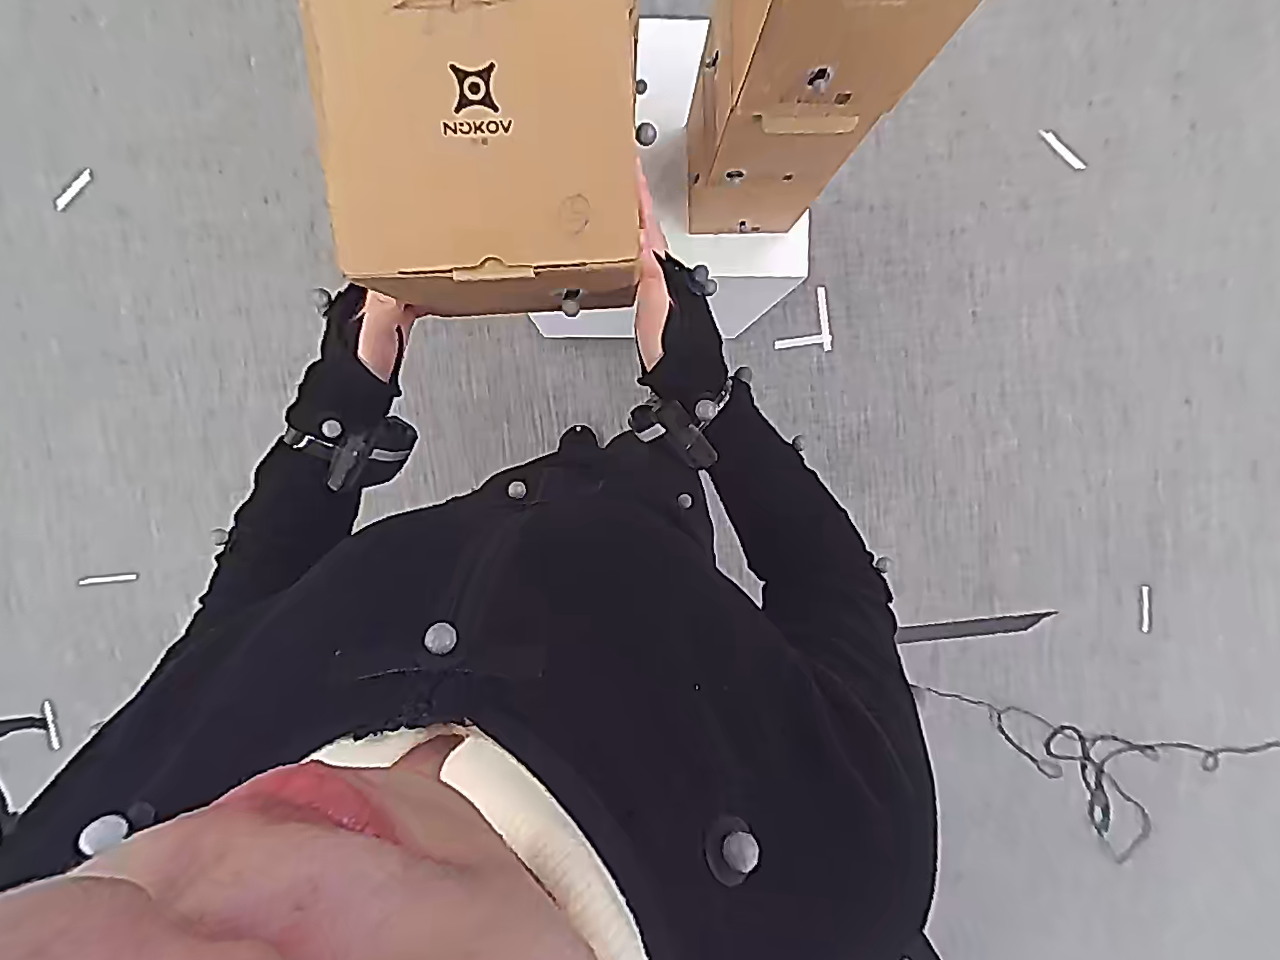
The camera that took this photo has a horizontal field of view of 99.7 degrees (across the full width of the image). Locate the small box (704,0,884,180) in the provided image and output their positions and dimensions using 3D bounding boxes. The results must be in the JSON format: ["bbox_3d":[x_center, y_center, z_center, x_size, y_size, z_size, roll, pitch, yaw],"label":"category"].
[{"bbox_3d":[0.169,-0.470,0.625,0.168,0.176,0.179,-2,94,-2],"label":"small box"}]

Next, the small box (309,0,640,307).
[{"bbox_3d":[-0.085,-0.214,0.361,0.168,0.176,0.179,-3,100,-2],"label":"small box"}]

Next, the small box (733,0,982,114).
[{"bbox_3d":[0.177,-0.455,0.464,0.168,0.176,0.179,-2,95,-2],"label":"small box"}]
